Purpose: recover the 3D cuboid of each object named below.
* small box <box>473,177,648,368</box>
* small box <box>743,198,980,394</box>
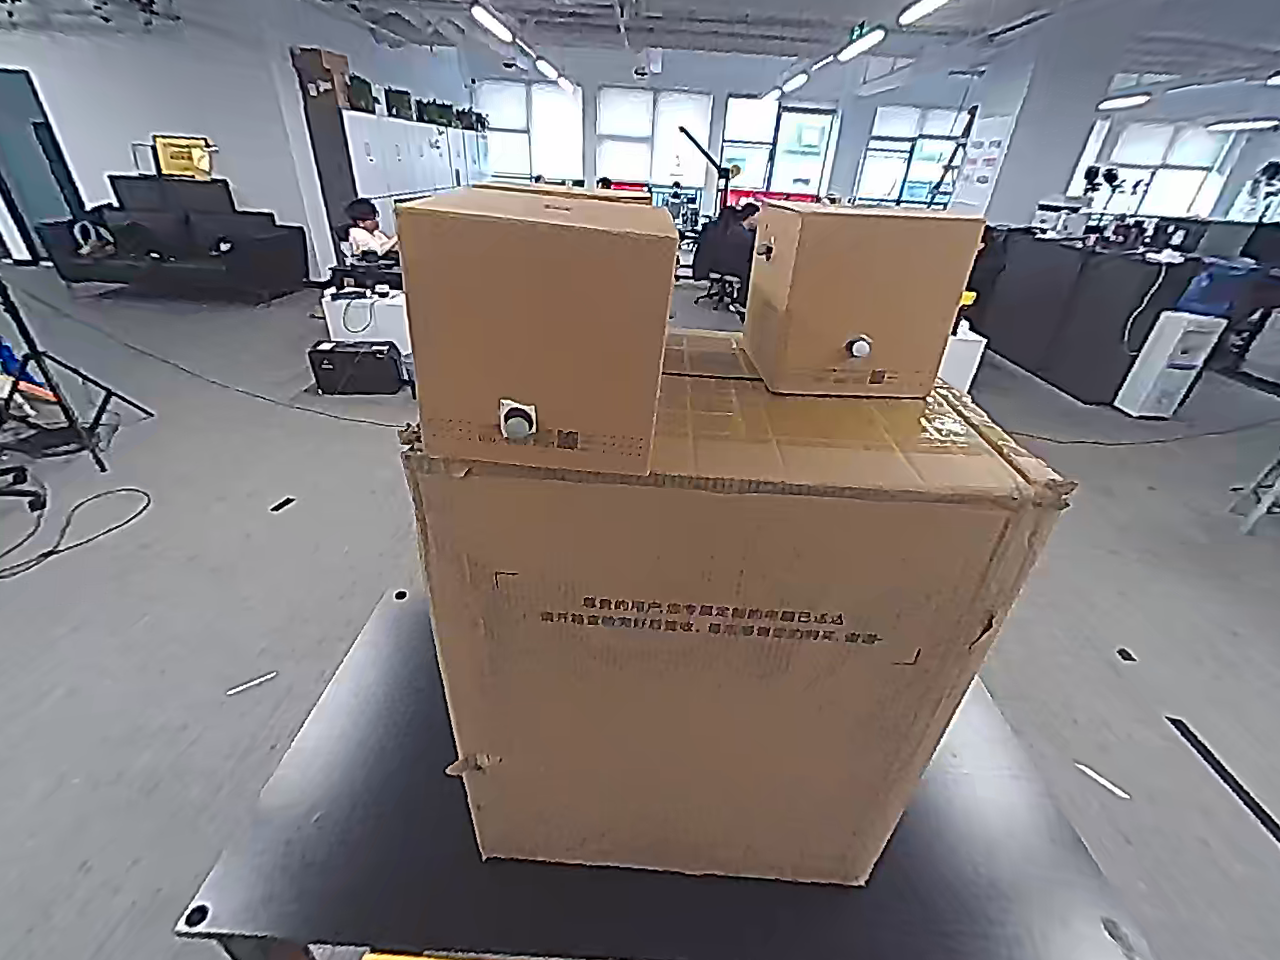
[{"bbox_3d":[-0.079,-0.235,0.607,0.168,0.176,0.179,3,29,-2],"label":"small box"},{"bbox_3d":[0.213,-0.202,0.580,0.168,0.176,0.179,1,29,-2],"label":"small box"}]
